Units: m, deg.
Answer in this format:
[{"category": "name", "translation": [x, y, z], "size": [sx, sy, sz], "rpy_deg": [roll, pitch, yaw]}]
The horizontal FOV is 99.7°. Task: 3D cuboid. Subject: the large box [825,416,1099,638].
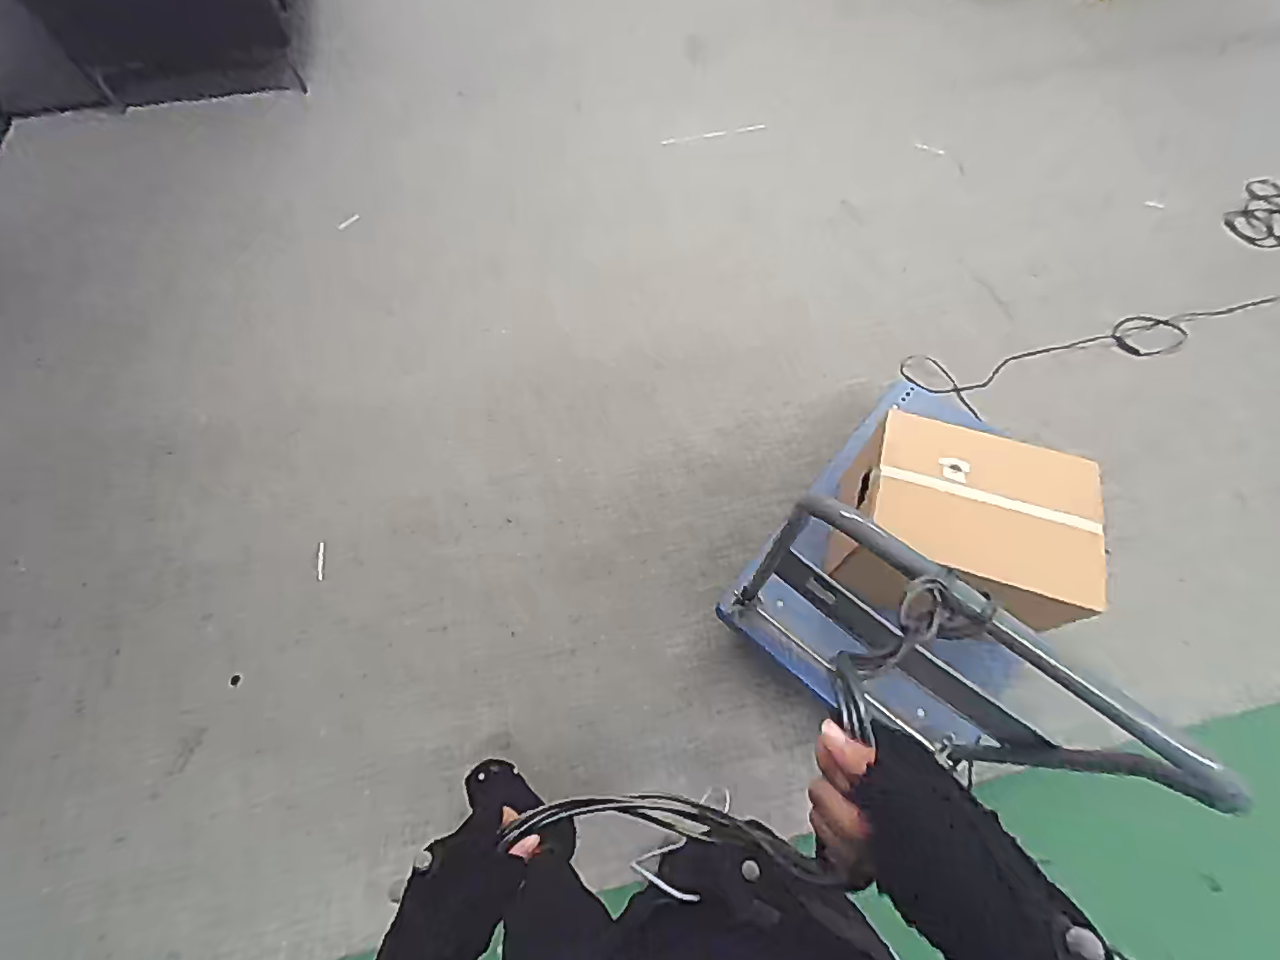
[{"category": "large box", "translation": [0.661, 0.112, 1.164], "size": [0.408, 0.320, 0.320], "rpy_deg": [16, 64, 10]}]
